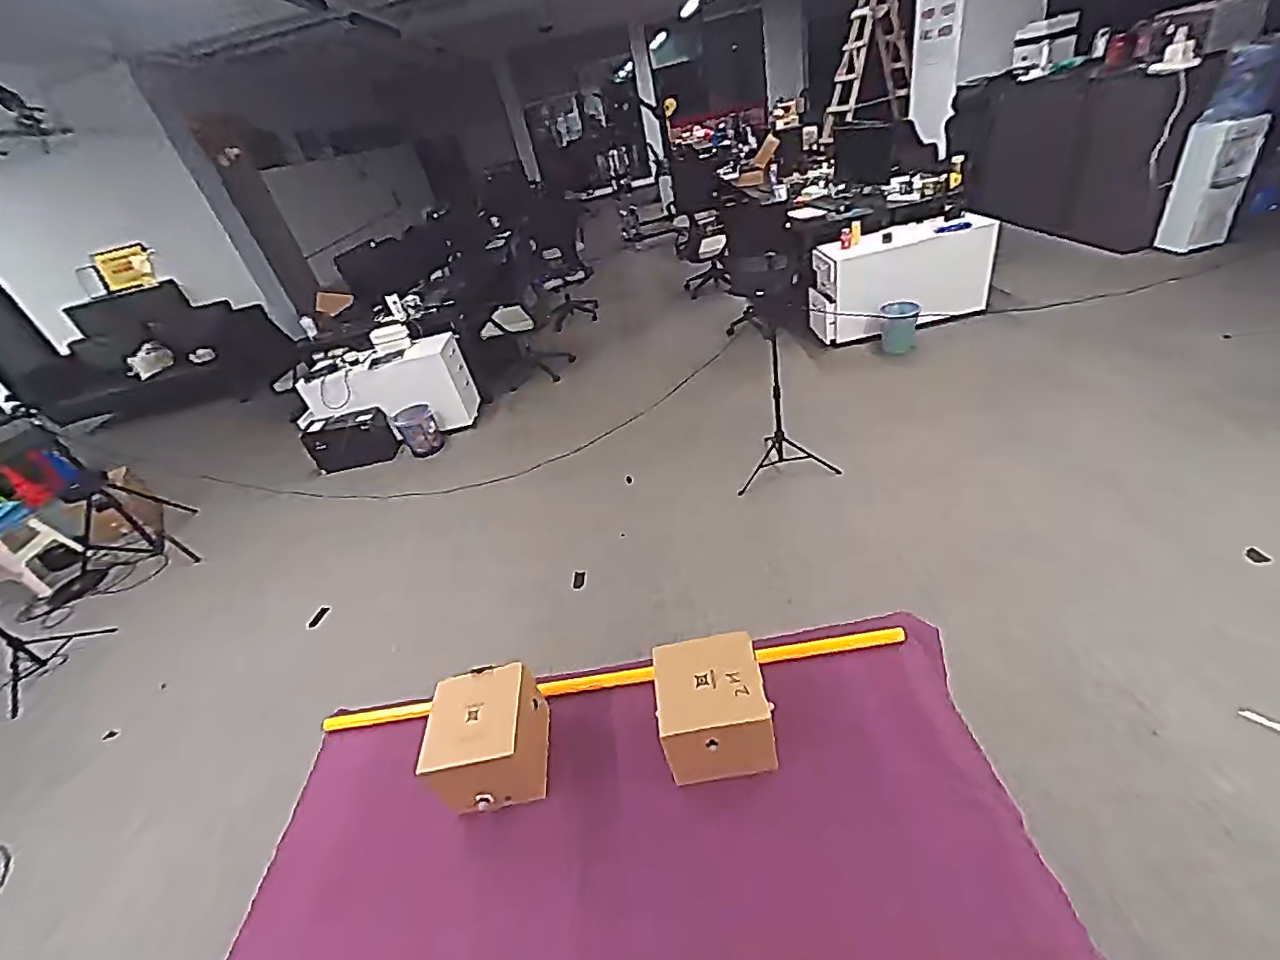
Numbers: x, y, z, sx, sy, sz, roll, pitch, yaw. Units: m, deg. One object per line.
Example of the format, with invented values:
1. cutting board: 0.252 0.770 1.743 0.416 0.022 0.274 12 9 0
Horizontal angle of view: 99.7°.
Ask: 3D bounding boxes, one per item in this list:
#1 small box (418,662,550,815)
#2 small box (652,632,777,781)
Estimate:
1. small box: -0.266 0.463 0.972 0.168 0.176 0.179 -13 36 3
2. small box: 0.127 0.391 0.929 0.179 0.176 0.168 -11 36 5
